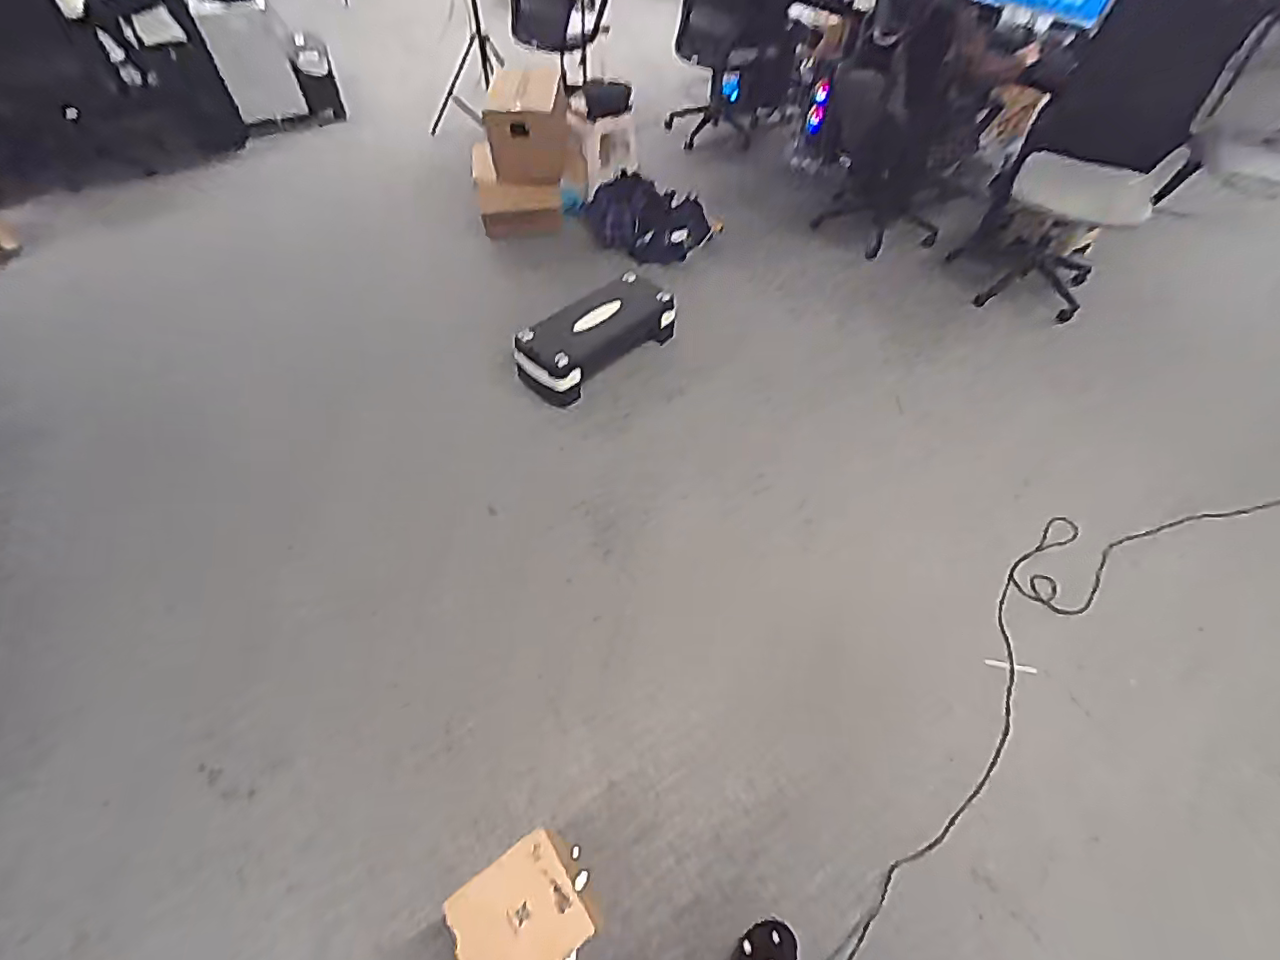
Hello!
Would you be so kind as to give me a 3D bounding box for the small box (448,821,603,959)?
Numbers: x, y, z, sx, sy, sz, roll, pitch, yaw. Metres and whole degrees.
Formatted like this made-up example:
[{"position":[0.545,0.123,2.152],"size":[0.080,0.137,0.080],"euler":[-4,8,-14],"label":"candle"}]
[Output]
[{"position":[-0.175,0.694,0.874],"size":[0.179,0.176,0.168],"euler":[-31,59,-20],"label":"small box"}]
